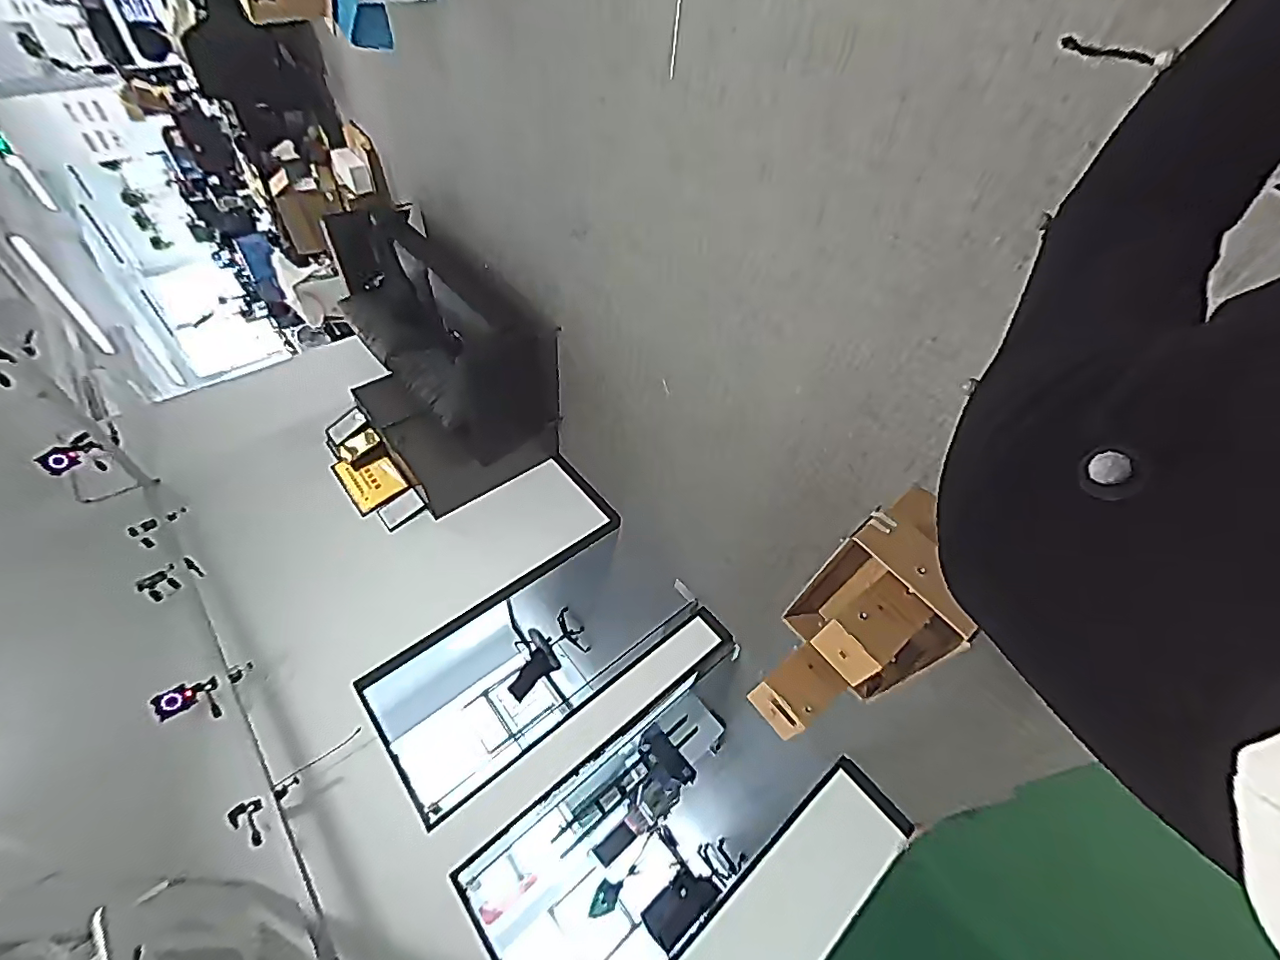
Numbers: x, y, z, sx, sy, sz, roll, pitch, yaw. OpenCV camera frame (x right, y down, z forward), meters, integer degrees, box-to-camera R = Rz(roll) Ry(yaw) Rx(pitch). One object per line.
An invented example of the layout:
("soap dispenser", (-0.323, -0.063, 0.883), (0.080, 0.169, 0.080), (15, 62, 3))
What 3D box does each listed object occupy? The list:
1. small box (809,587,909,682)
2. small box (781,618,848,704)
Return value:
("small box", (0.617, 0.429, 1.517), (0.168, 0.176, 0.179), (47, 151, 23))
("small box", (0.586, 0.572, 1.719), (0.168, 0.176, 0.179), (47, 148, 24))
